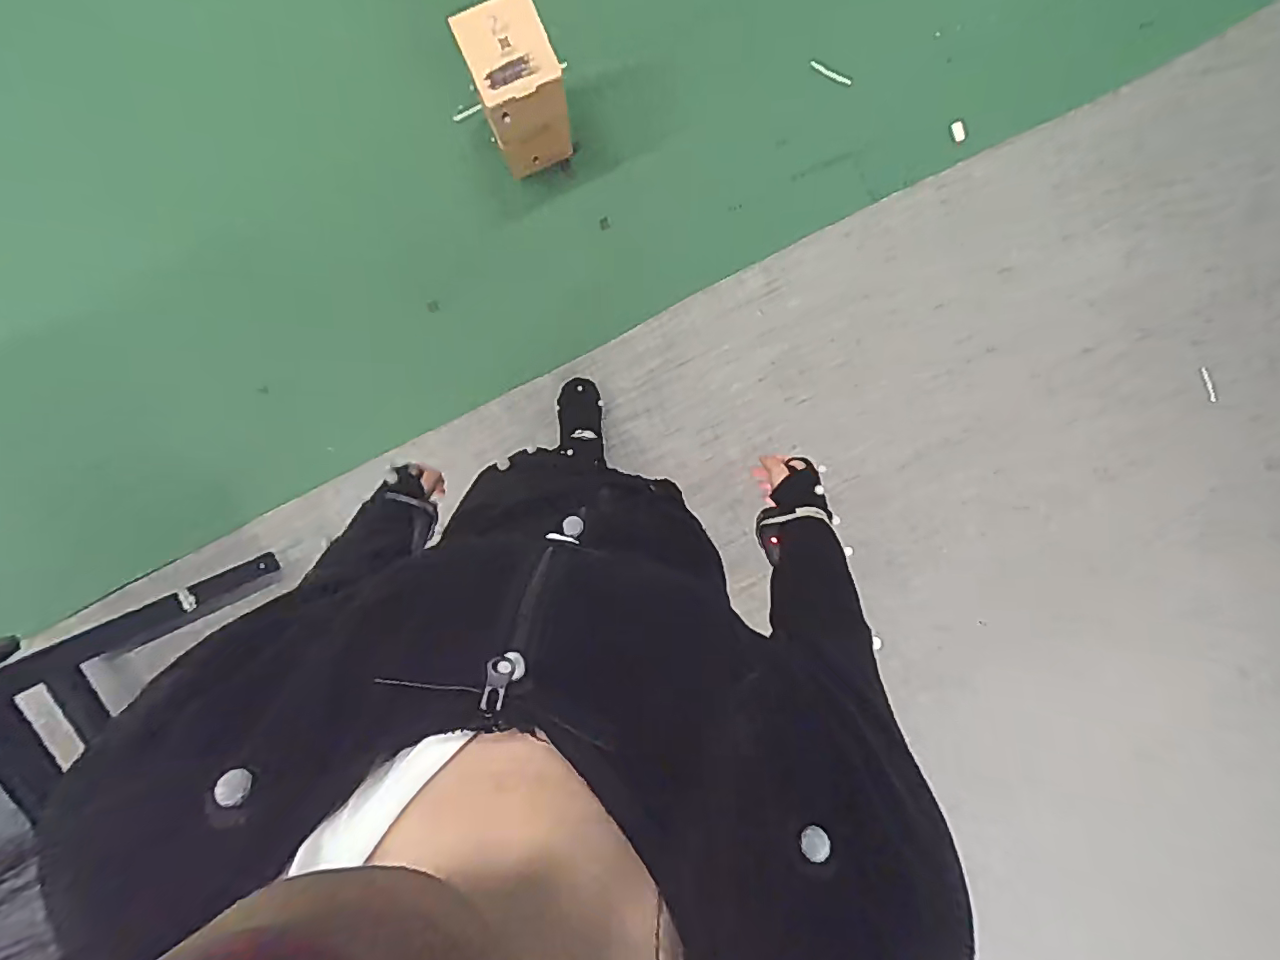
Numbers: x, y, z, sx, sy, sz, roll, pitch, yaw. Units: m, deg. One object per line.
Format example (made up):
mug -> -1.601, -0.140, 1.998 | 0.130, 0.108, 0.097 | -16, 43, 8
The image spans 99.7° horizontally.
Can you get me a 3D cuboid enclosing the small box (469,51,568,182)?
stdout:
small box -> -0.283, -0.858, 1.294 | 0.168, 0.176, 0.179 | -24, 98, 0
